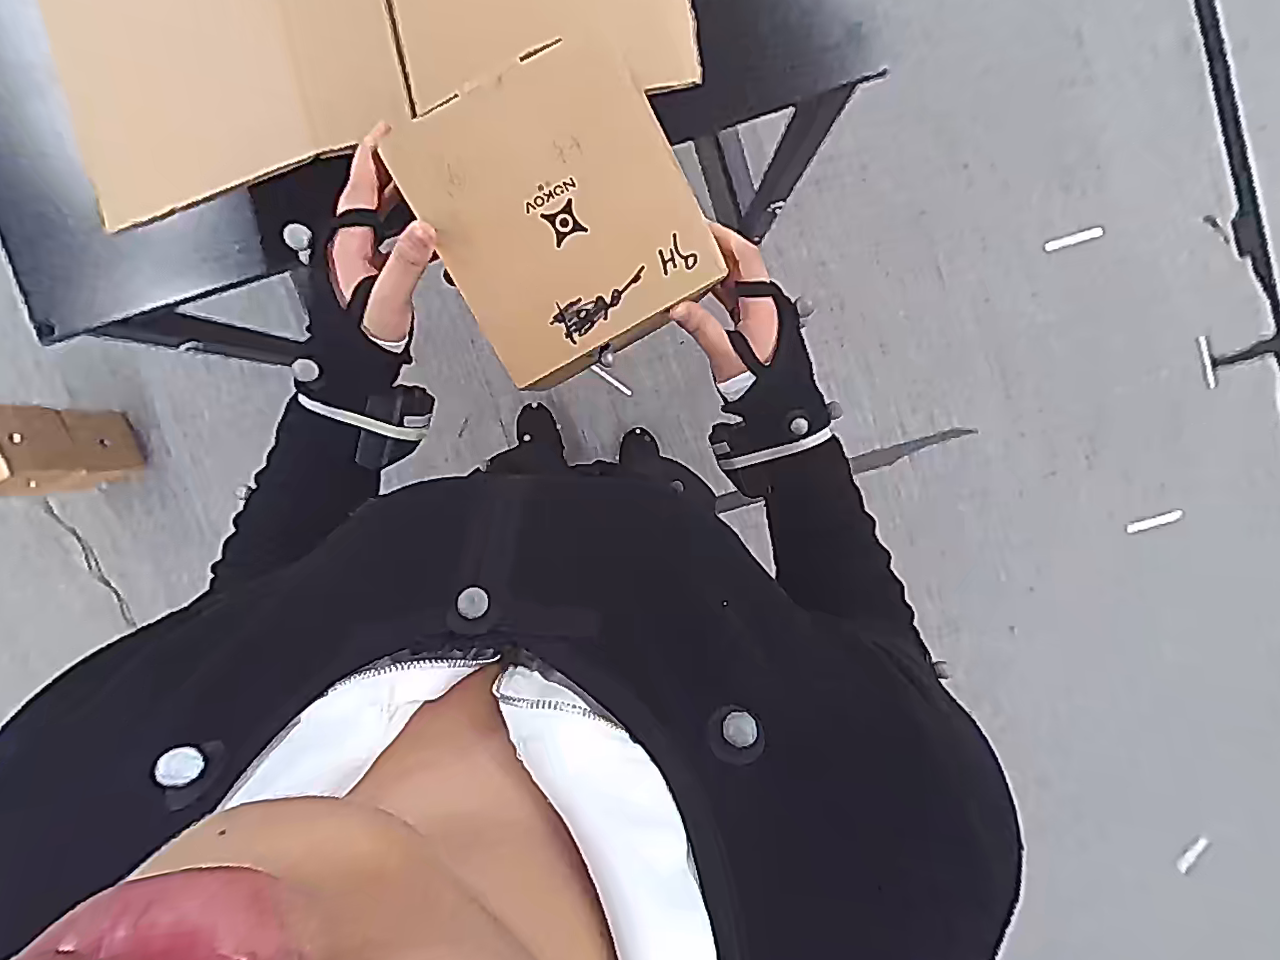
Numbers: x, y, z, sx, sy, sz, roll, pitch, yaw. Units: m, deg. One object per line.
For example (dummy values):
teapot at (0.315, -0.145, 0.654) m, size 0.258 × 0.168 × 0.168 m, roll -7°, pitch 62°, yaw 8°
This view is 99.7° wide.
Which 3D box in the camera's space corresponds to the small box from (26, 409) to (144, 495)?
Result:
small box at (-1.470, -0.074, 1.410) m, size 0.168 × 0.176 × 0.179 m, roll -20°, pitch 96°, yaw 2°

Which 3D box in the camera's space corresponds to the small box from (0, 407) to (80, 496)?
small box at (-1.475, -0.064, 1.248) m, size 0.168 × 0.176 × 0.179 m, roll -23°, pitch 94°, yaw 2°

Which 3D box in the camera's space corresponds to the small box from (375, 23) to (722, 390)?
small box at (-0.062, -0.184, 0.426) m, size 0.168 × 0.176 × 0.179 m, roll -29°, pitch 99°, yaw 0°
